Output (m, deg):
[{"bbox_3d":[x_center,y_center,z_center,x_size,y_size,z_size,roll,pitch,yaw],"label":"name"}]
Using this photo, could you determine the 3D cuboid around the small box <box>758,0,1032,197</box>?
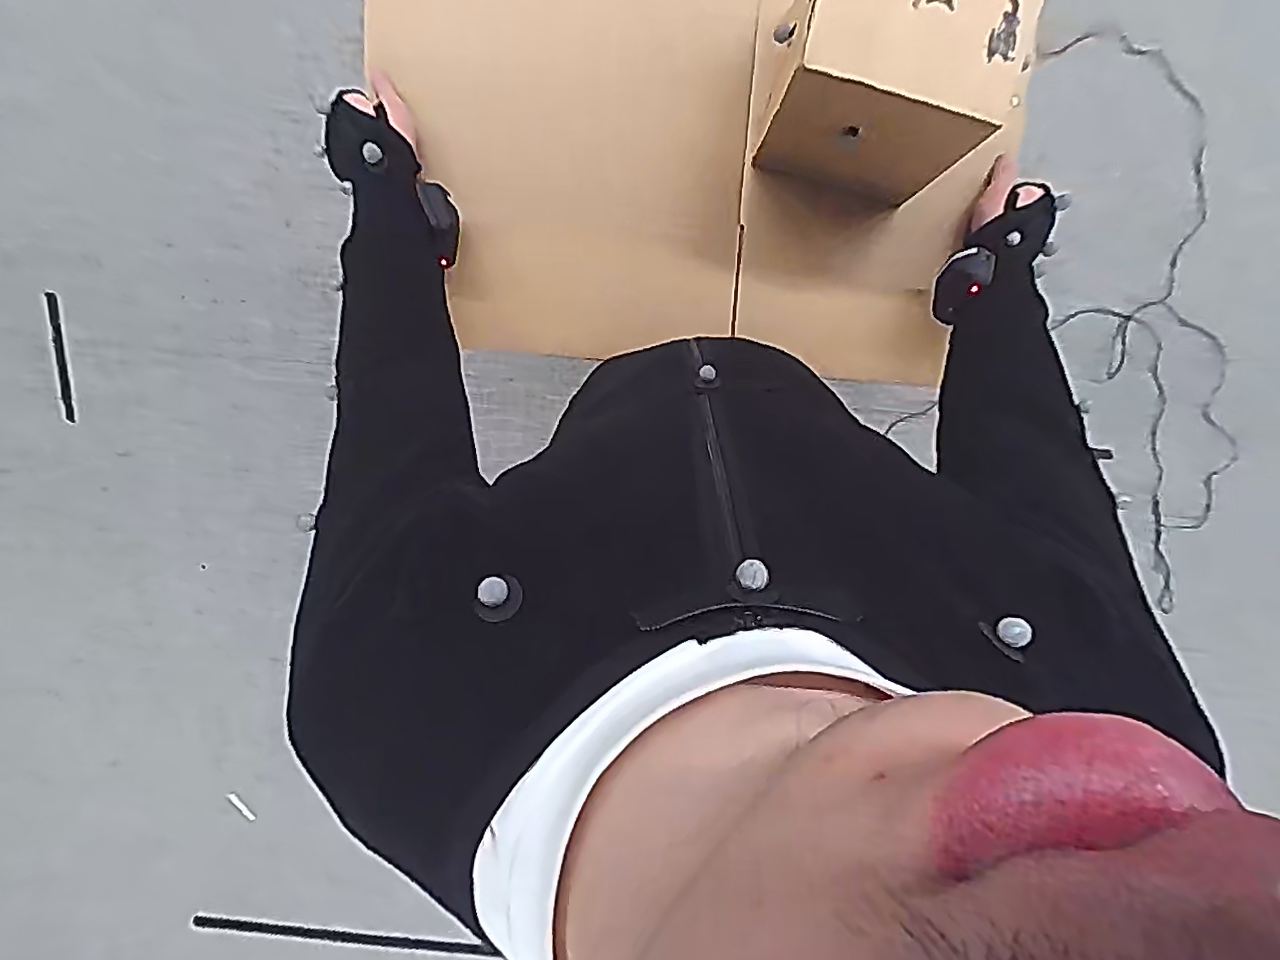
[{"bbox_3d":[0.226,-0.397,0.510,0.179,0.176,0.168,14,97,-2],"label":"small box"}]
